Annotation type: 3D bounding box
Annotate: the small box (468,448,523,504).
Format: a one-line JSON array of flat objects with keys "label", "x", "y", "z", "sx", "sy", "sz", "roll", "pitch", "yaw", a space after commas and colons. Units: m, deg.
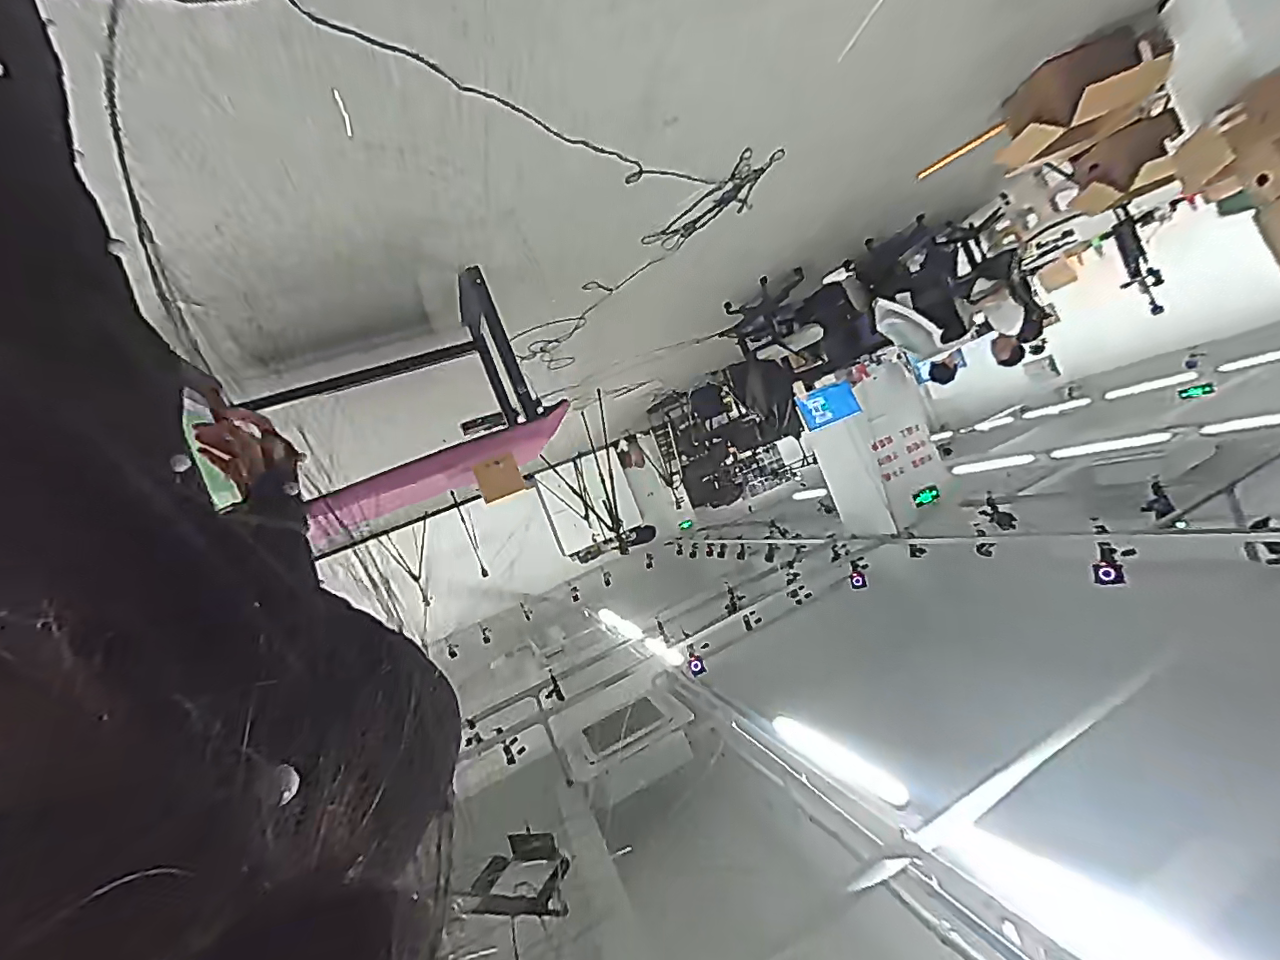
[{"label": "small box", "x": -0.578, "y": -0.017, "z": 2.156, "sx": 0.168, "sy": 0.176, "sz": 0.179, "roll": -22, "pitch": 180, "yaw": -17}]
